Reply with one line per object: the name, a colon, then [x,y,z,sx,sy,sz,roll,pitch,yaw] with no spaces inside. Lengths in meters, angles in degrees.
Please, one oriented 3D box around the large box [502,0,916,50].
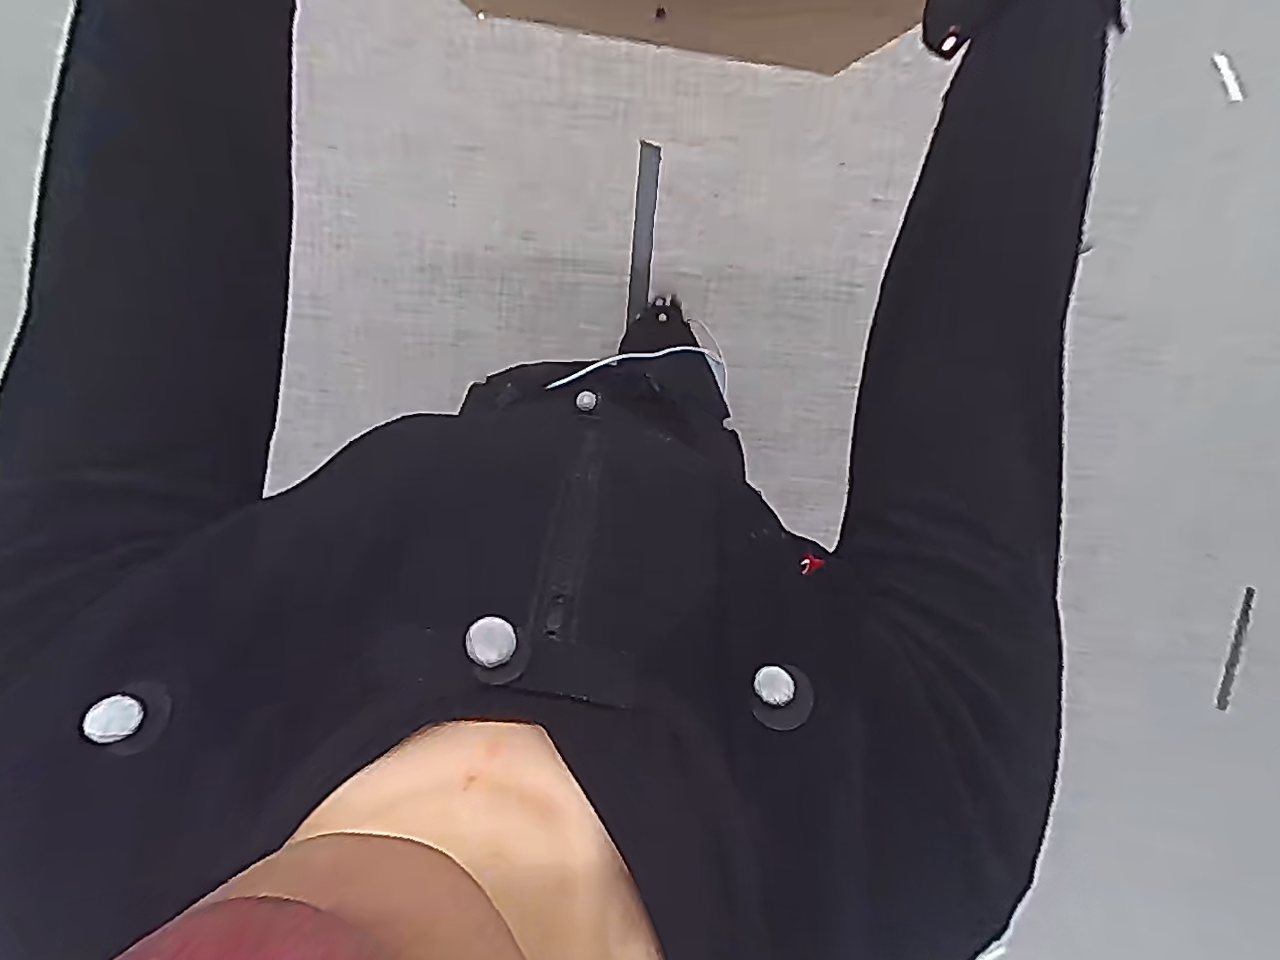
large box: [0.044,-0.553,0.388,0.408,0.320,0.320,7,118,-3]
